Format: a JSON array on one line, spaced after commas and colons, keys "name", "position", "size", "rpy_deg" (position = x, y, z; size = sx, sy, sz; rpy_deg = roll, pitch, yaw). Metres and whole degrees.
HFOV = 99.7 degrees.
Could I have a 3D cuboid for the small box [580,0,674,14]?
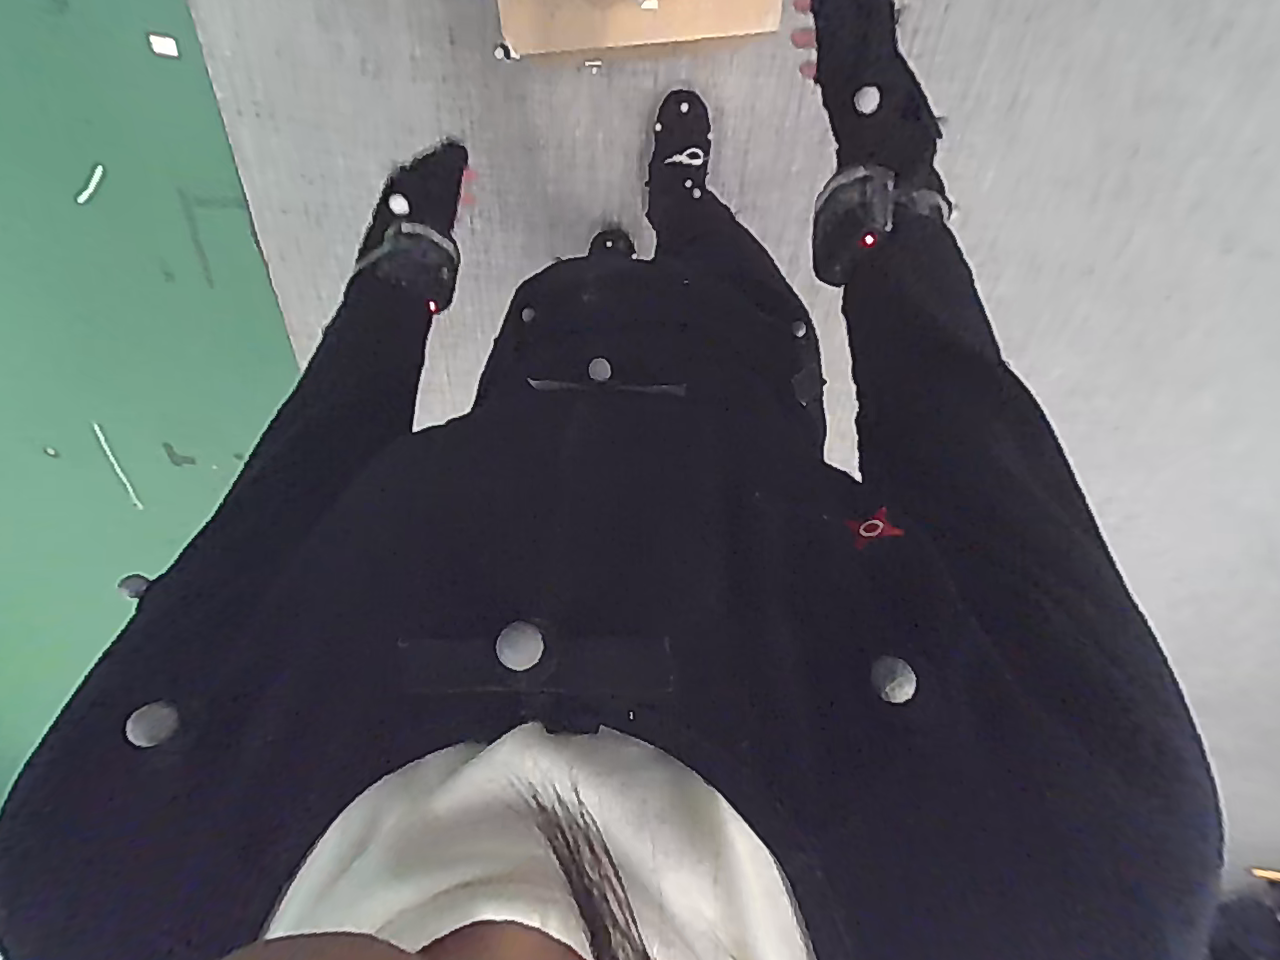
[{"name": "small box", "position": [0.000, -0.689, 0.649], "size": [0.179, 0.176, 0.168], "rpy_deg": [-7, 124, 6]}]
